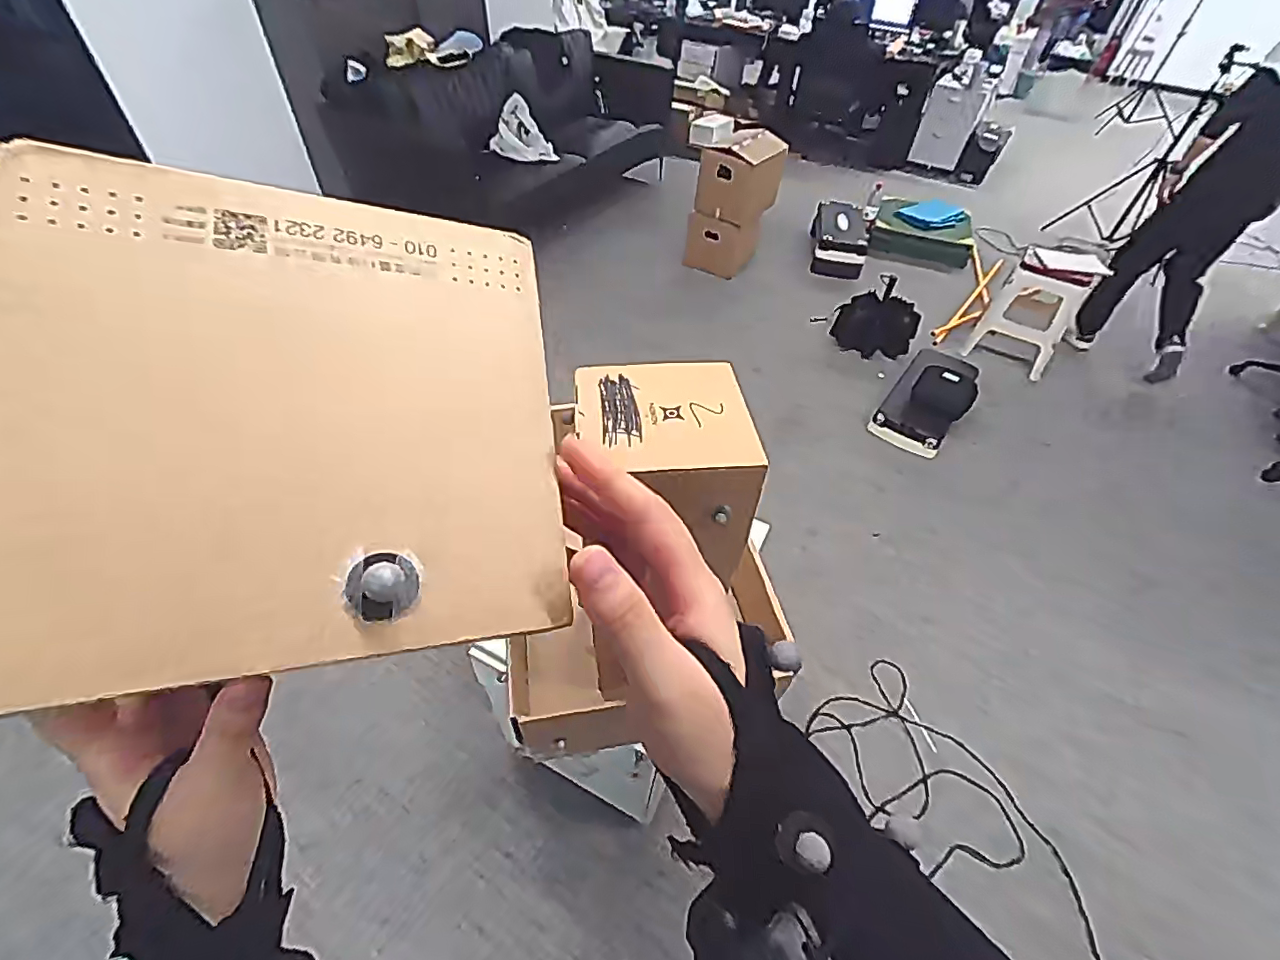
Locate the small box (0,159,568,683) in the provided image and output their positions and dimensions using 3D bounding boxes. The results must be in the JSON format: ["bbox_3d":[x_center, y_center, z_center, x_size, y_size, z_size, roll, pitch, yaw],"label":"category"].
[{"bbox_3d":[-0.146,-0.008,0.266,0.168,0.179,0.176,-1,76,-28],"label":"small box"}]

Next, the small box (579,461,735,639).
[{"bbox_3d":[0.013,0.096,0.735,0.179,0.176,0.168,-6,46,-7],"label":"small box"}]
